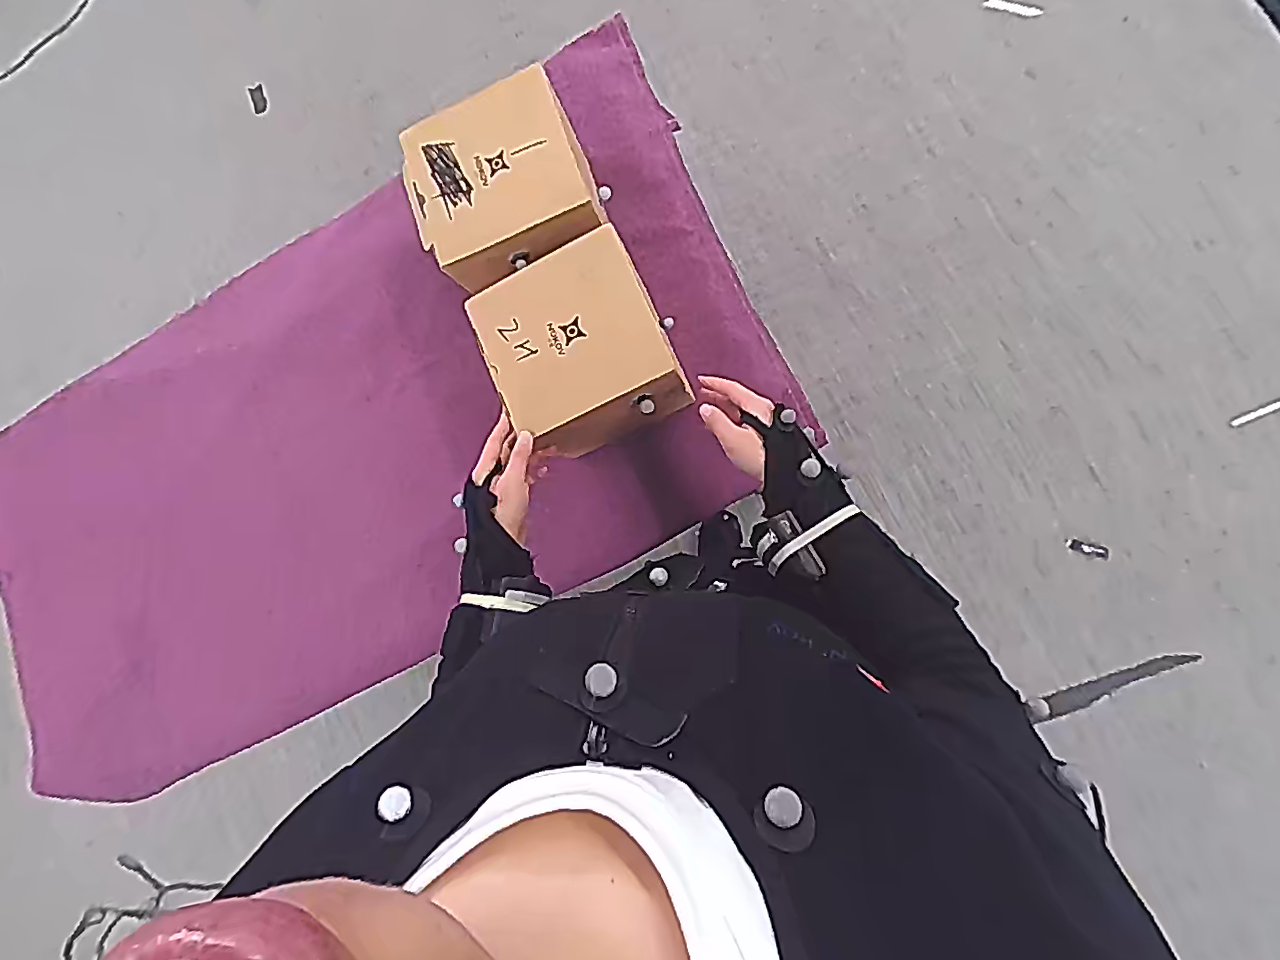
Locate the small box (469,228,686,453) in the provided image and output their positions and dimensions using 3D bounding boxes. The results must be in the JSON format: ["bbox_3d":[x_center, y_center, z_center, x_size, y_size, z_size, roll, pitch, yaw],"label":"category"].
[{"bbox_3d":[-0.056,-0.141,0.617,0.179,0.176,0.168,-24,83,10],"label":"small box"}]

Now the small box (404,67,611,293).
[{"bbox_3d":[-0.140,-0.324,0.648,0.179,0.176,0.168,-20,84,9],"label":"small box"}]
